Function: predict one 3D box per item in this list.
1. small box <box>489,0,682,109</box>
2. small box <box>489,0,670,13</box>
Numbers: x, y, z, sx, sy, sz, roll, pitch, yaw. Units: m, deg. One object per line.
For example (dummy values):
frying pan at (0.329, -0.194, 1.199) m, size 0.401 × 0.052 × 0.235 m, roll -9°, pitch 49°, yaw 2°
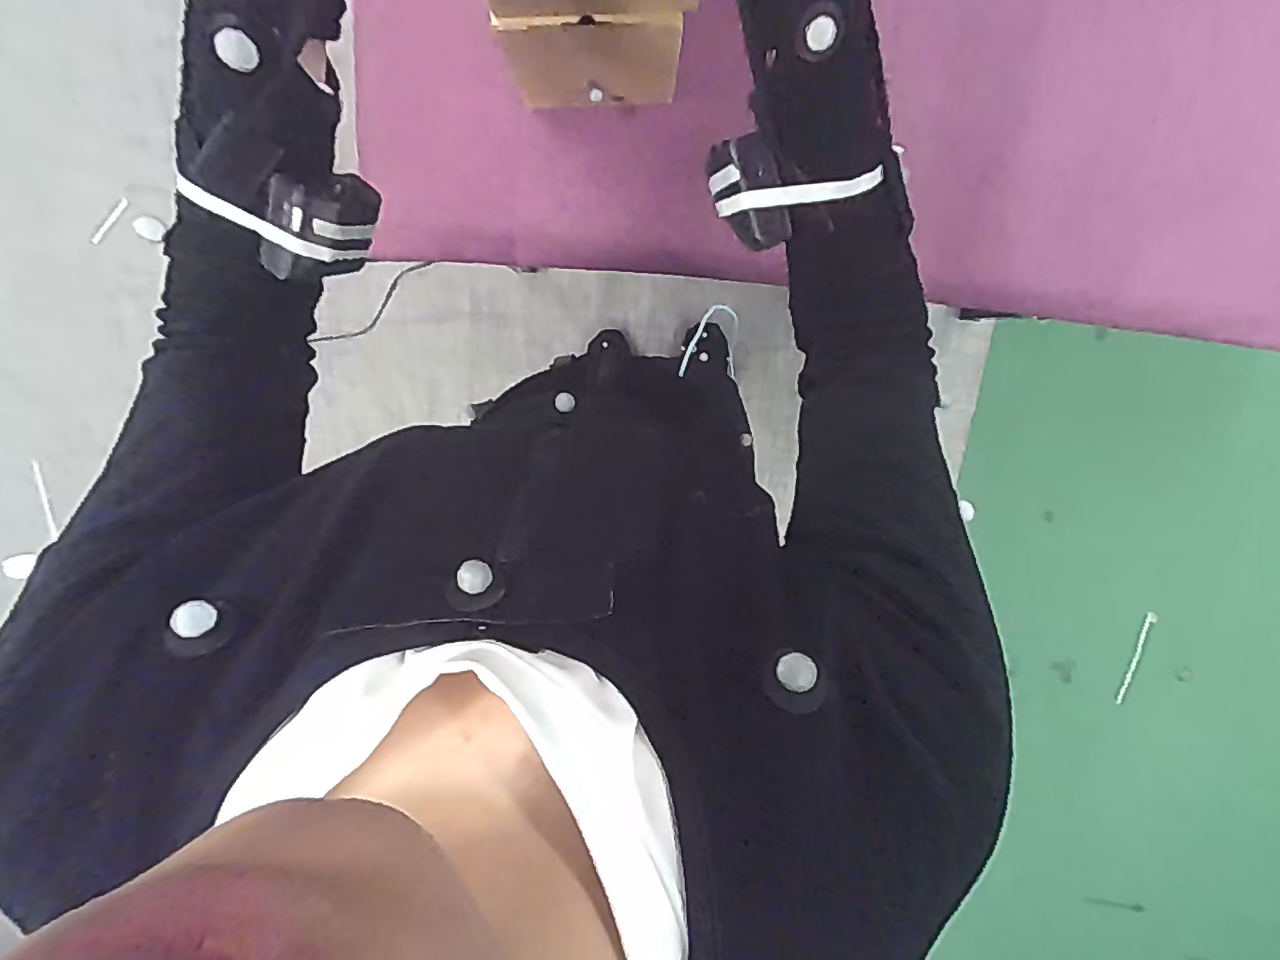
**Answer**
small box at (-0.047, -0.489, 0.517) m, size 0.168 × 0.176 × 0.179 m, roll -1°, pitch 105°, yaw 1°
small box at (-0.041, -0.451, 0.354) m, size 0.179 × 0.176 × 0.168 m, roll 1°, pitch 102°, yaw 0°
